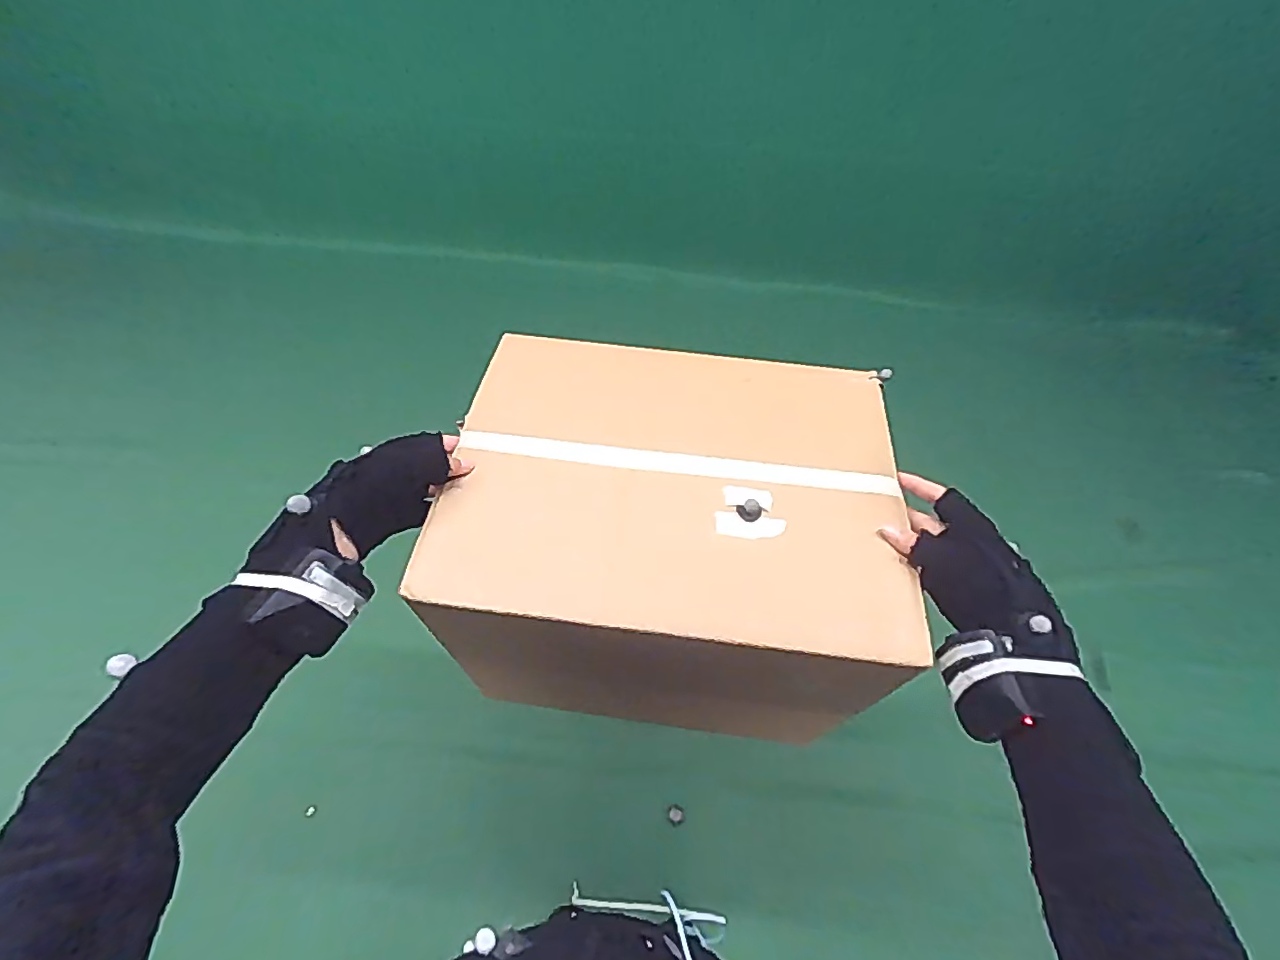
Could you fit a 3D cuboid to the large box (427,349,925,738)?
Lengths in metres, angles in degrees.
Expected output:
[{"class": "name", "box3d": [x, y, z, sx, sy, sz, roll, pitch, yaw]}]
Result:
[{"class": "large box", "box3d": [0.033, 0.083, 0.629, 0.408, 0.320, 0.320, 7, 54, 2]}]
